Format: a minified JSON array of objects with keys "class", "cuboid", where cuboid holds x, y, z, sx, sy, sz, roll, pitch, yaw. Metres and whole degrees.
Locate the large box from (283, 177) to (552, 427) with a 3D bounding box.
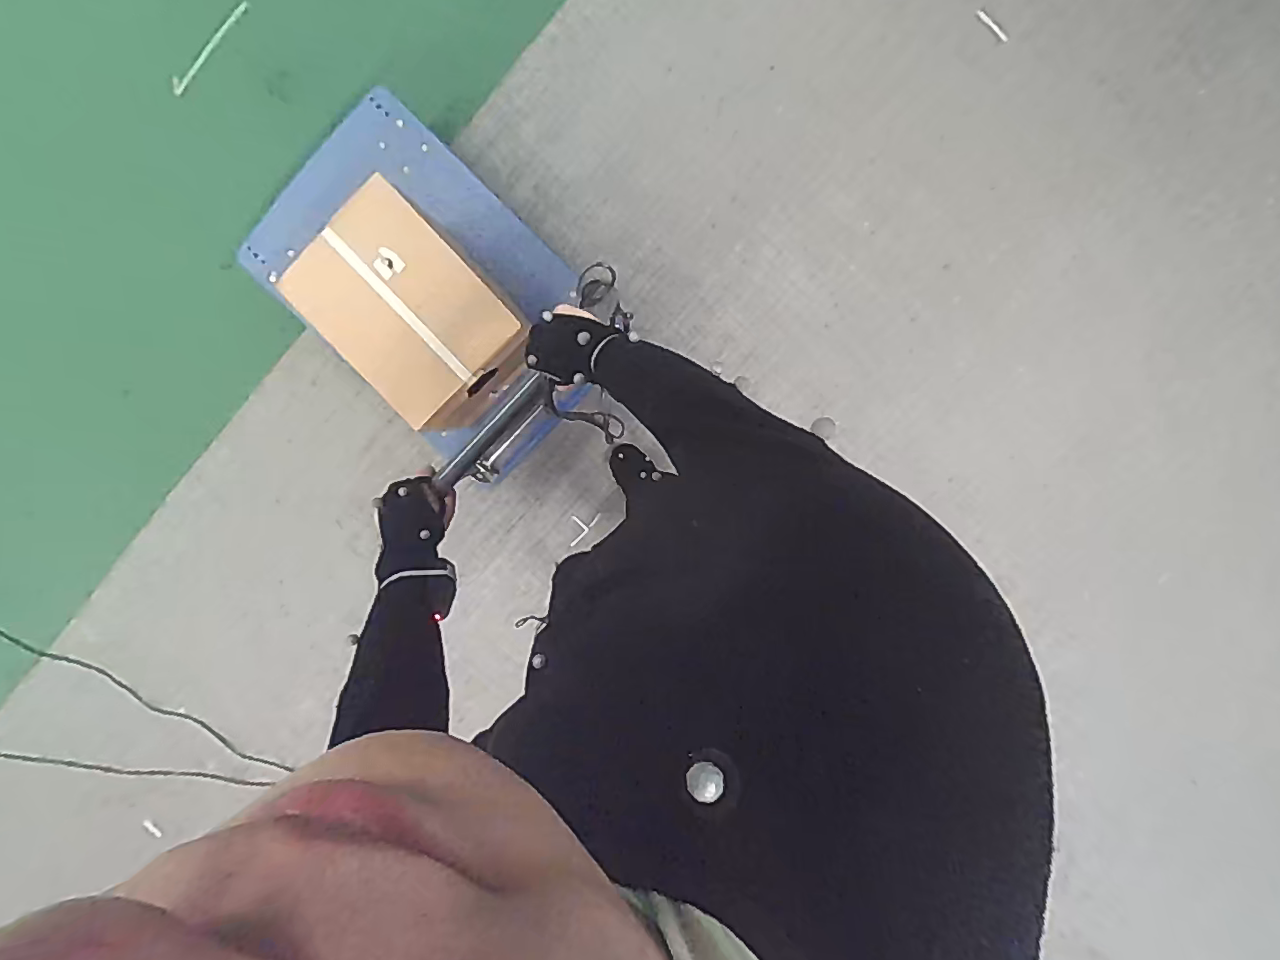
[{"class":"large box","cuboid":[-0.470,-0.369,1.231,0.320,0.320,0.408,-43,94,6]}]
